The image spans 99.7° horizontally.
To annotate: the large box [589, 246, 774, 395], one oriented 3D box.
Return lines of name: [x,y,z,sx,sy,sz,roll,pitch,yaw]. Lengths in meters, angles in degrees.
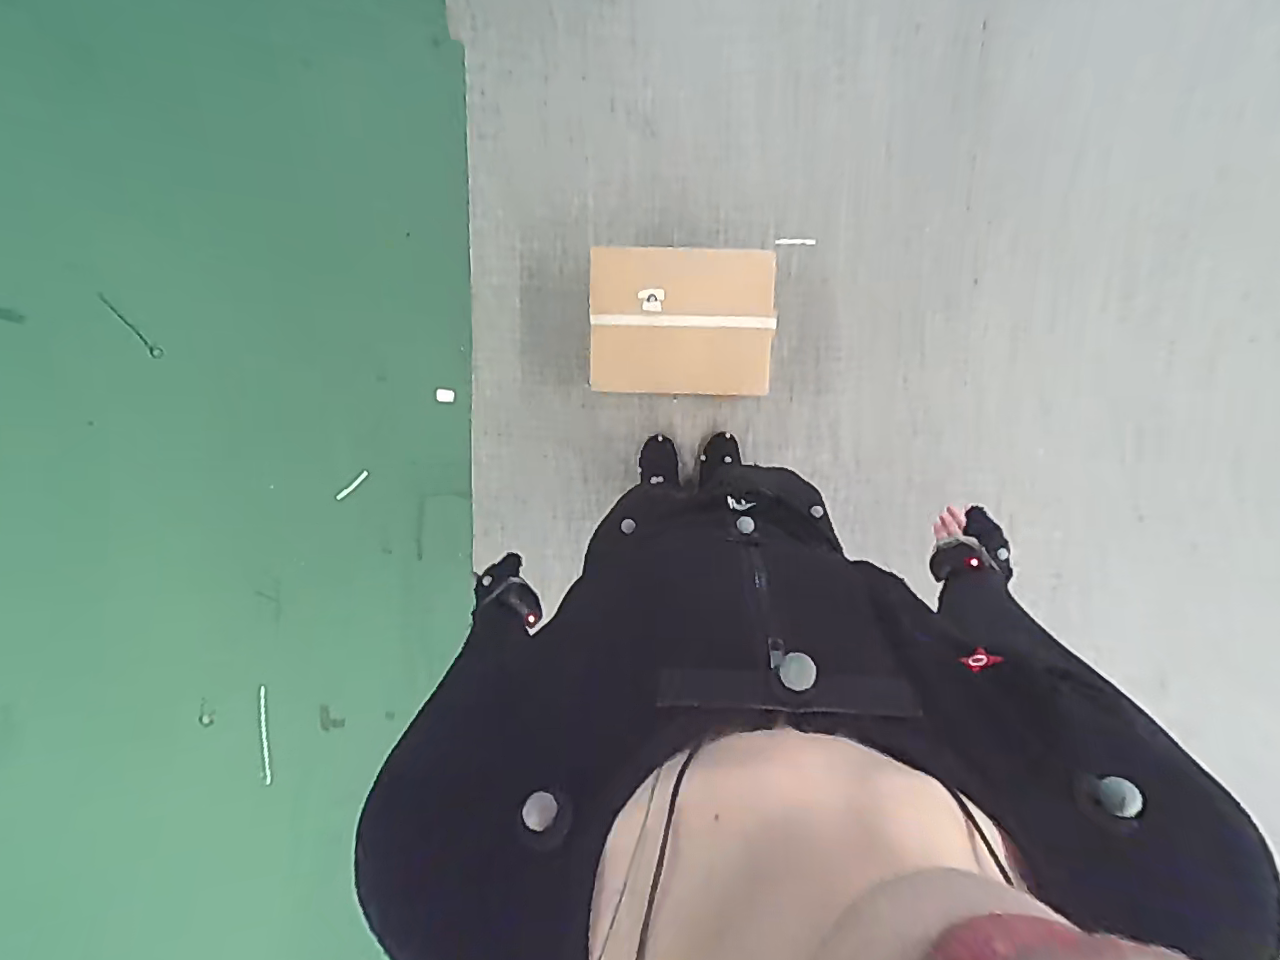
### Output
large box: [0.094,-0.368,1.328,0.408,0.320,0.320,2,96,1]
